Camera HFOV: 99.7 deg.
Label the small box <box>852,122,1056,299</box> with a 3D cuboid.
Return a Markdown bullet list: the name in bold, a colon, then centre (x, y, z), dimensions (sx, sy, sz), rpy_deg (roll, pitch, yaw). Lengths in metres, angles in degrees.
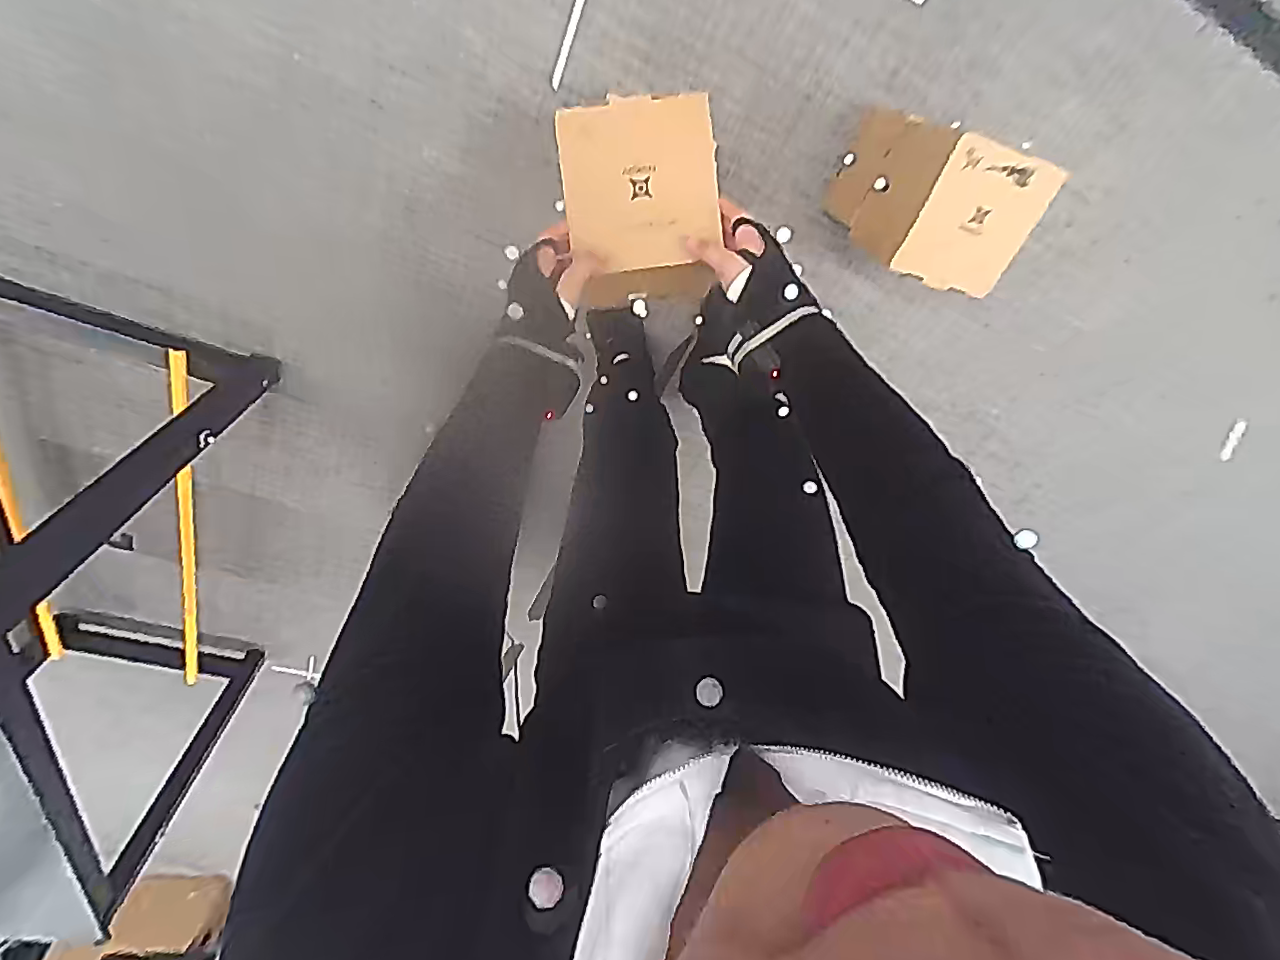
- **small box**: centre (0.442, -0.400, 0.801), dimensions (0.168, 0.176, 0.179), rpy_deg (13, 127, -12)

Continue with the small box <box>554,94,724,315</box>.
- **small box**: centre (-0.002, -0.313, 0.647), dimensions (0.168, 0.176, 0.179), rpy_deg (-8, 94, 0)

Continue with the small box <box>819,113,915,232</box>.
- **small box**: centre (0.441, -0.506, 0.926), dimensions (0.179, 0.176, 0.168), rpy_deg (14, 125, -13)
